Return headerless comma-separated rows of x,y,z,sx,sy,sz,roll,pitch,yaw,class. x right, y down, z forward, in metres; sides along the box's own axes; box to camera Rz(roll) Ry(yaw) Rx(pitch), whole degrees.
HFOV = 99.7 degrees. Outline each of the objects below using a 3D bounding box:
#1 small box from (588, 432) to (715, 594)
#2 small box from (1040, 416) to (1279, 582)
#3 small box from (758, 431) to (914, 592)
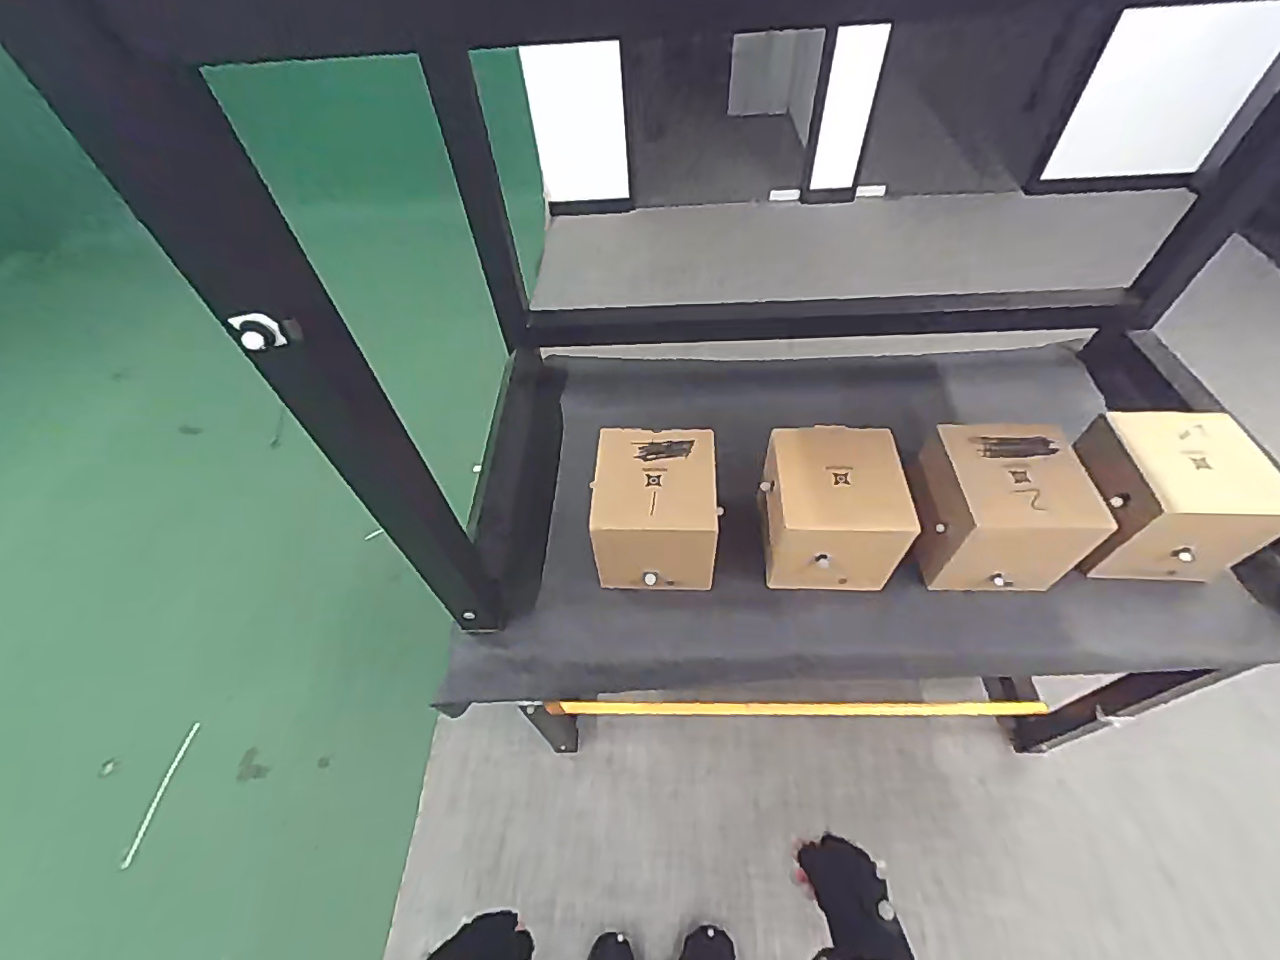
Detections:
0.022,0.049,0.798,0.168,0.176,0.179,0,52,4,small box
0.719,0.030,0.764,0.168,0.176,0.179,1,51,5,small box
0.267,0.049,0.783,0.168,0.176,0.179,1,51,4,small box
